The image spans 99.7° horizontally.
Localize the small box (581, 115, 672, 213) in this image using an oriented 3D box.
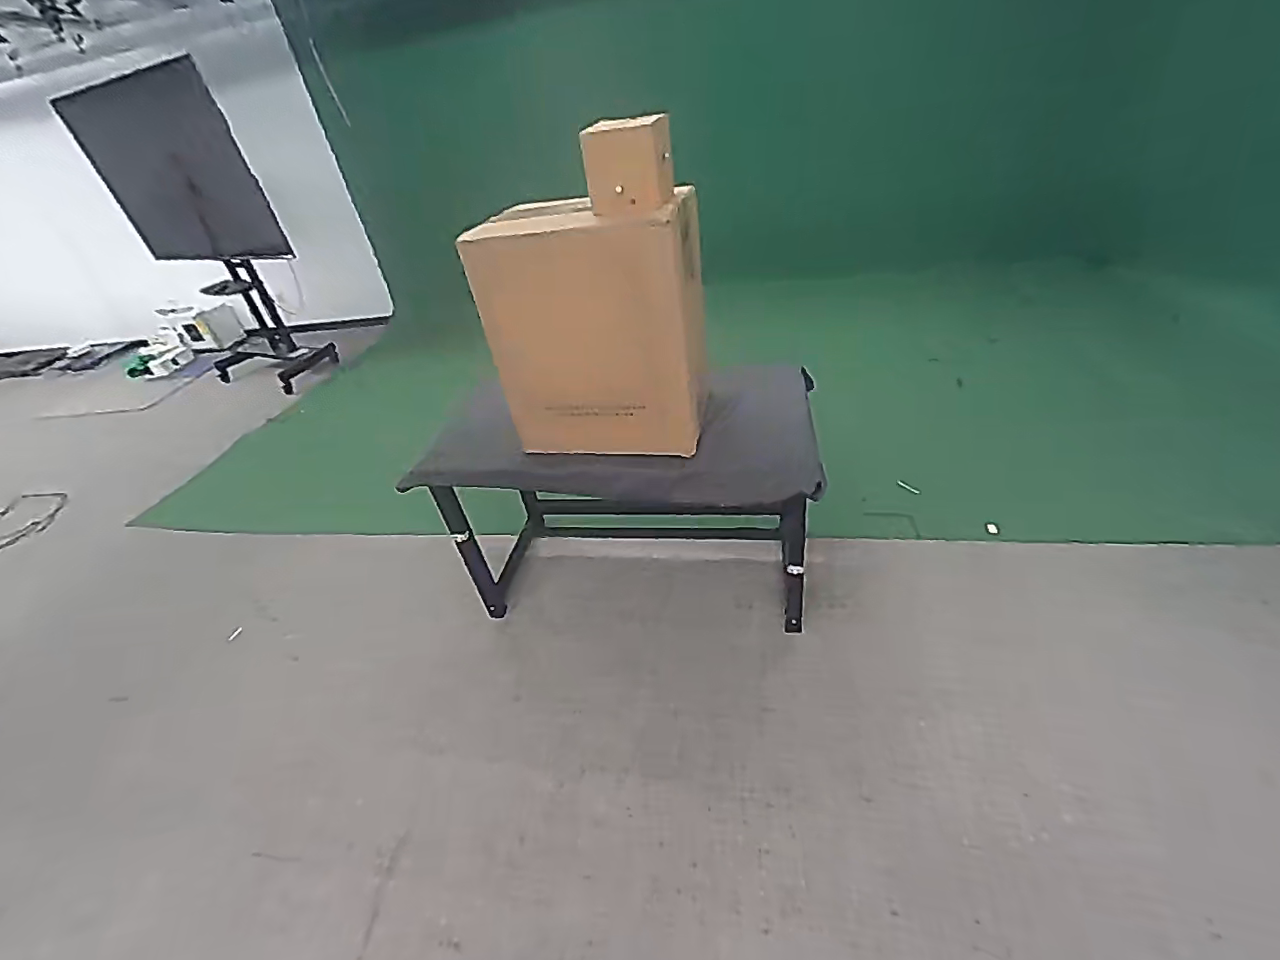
[{"bbox_3d":[-0.023,-0.733,1.259,0.168,0.176,0.179,3,41,15],"label":"small box"}]
